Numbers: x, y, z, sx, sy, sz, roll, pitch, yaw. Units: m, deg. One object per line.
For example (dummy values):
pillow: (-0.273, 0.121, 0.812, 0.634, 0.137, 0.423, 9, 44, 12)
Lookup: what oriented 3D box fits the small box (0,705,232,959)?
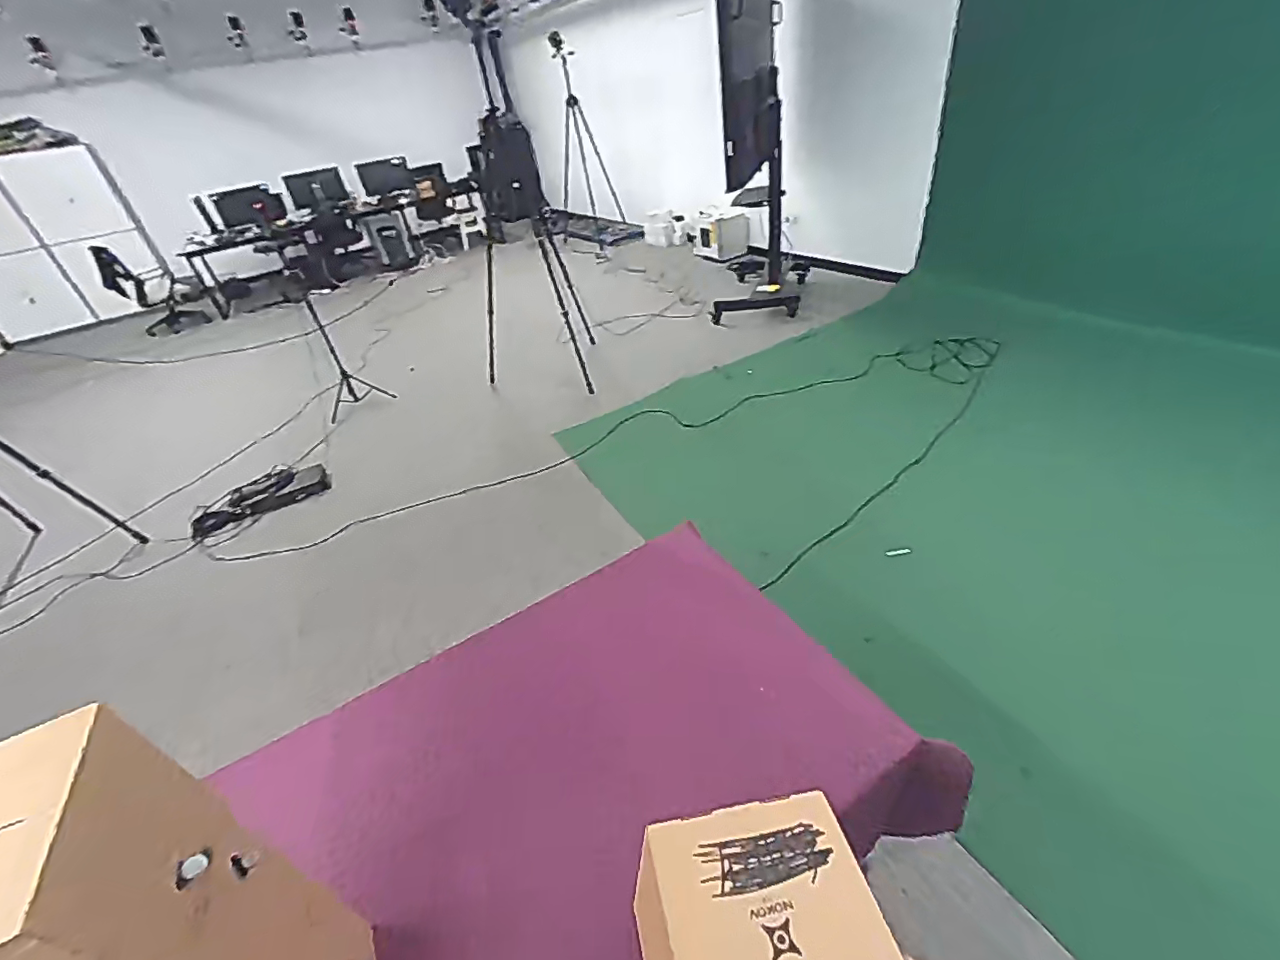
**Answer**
small box: (-0.427, 0.303, 0.368, 0.179, 0.176, 0.168, -24, 39, -19)
